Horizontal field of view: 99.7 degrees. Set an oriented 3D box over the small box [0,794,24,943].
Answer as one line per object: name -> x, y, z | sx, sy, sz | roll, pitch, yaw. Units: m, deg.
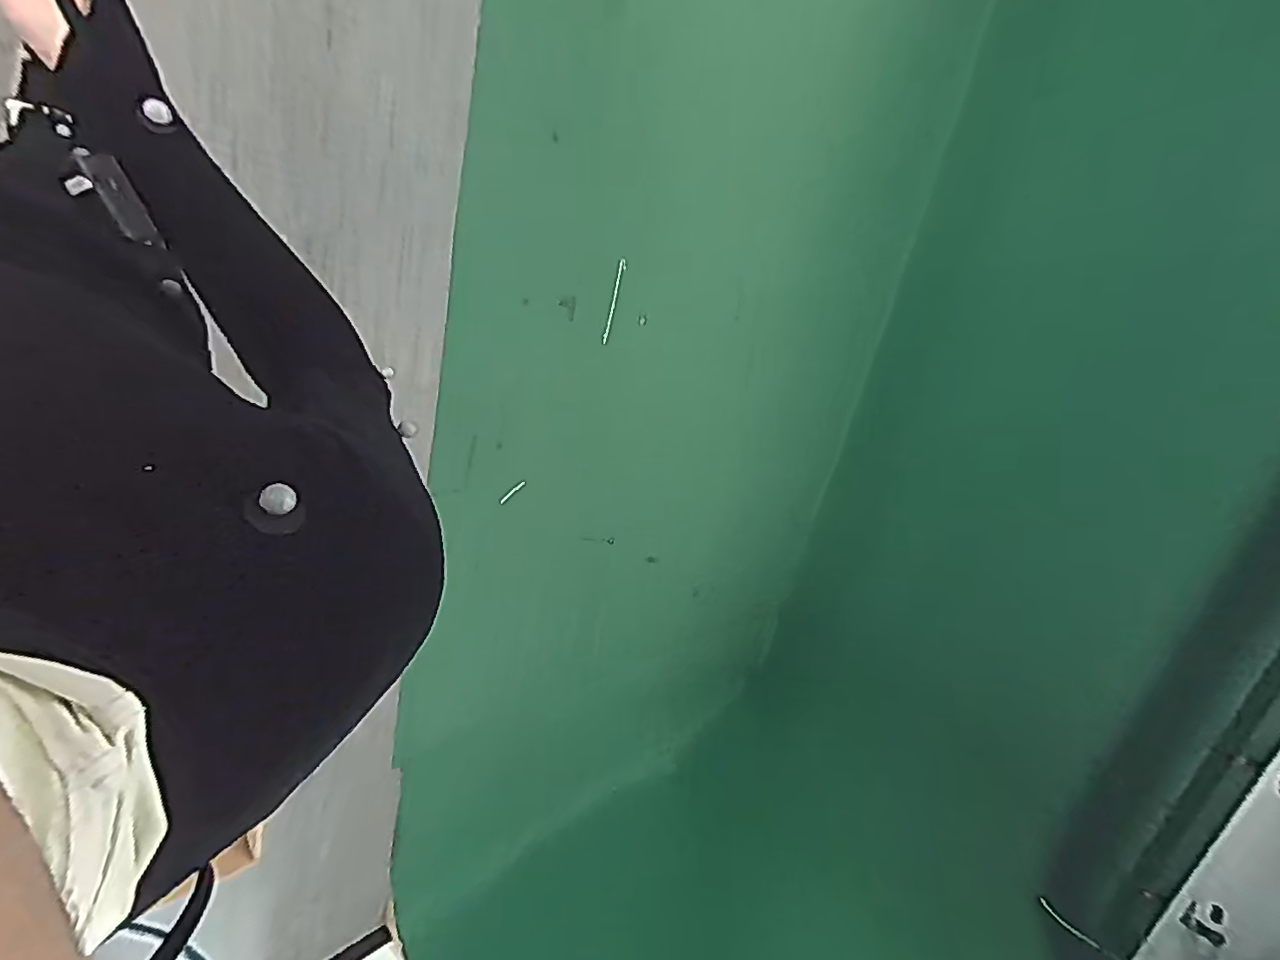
small box -> -1.163, 0.678, 0.904 | 0.168, 0.176, 0.179 | -1, 112, -46
